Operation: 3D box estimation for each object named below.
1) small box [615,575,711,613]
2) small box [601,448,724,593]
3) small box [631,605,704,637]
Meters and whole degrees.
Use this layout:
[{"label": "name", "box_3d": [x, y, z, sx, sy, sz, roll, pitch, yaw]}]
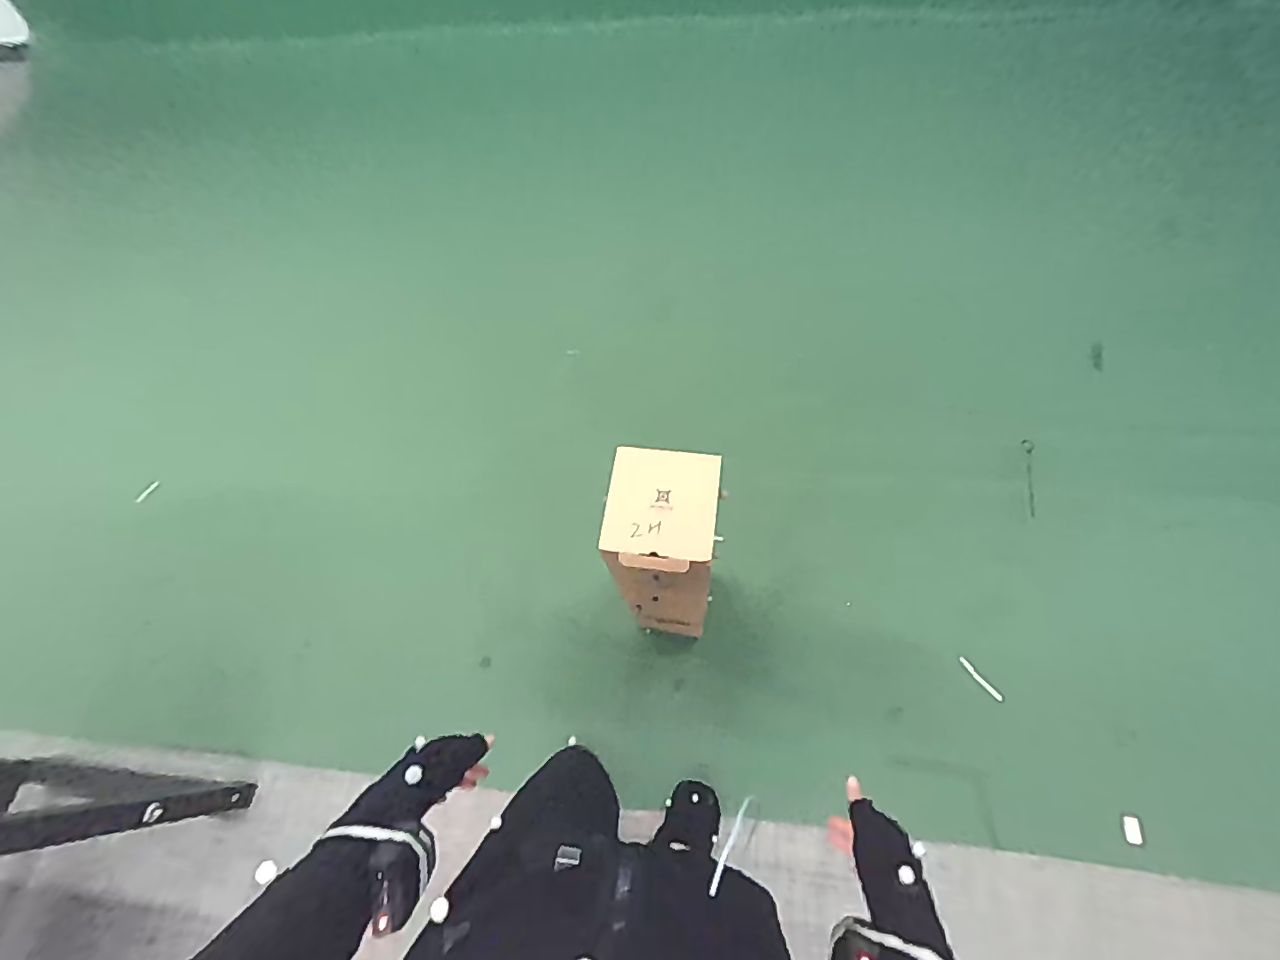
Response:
[{"label": "small box", "box_3d": [0.053, 0.142, 1.026, 0.168, 0.176, 0.179, 6, 66, 7]}, {"label": "small box", "box_3d": [0.040, 0.071, 0.878, 0.168, 0.176, 0.179, 6, 66, 8]}, {"label": "small box", "box_3d": [0.077, 0.281, 1.322, 0.168, 0.176, 0.179, 4, 67, 7]}]
